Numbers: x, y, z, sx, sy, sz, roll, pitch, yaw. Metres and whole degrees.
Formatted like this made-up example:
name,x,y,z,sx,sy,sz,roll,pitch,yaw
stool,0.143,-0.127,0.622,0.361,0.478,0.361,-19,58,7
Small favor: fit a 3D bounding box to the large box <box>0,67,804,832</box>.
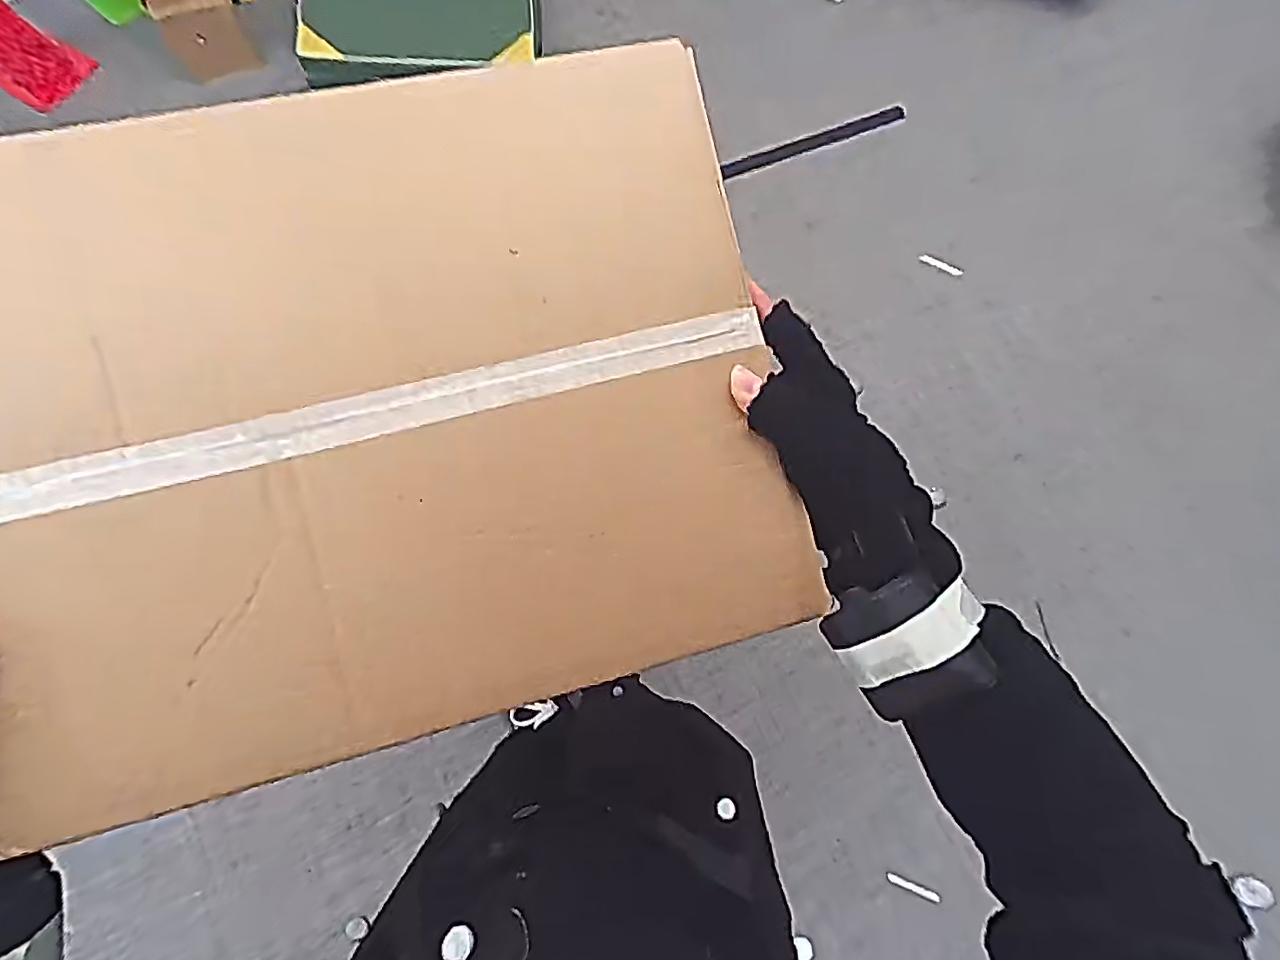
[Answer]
name,x,y,z,sx,sy,sz,roll,pitch,yaw
large box,-0.151,-0.030,0.421,0.408,0.320,0.320,-14,90,-7
